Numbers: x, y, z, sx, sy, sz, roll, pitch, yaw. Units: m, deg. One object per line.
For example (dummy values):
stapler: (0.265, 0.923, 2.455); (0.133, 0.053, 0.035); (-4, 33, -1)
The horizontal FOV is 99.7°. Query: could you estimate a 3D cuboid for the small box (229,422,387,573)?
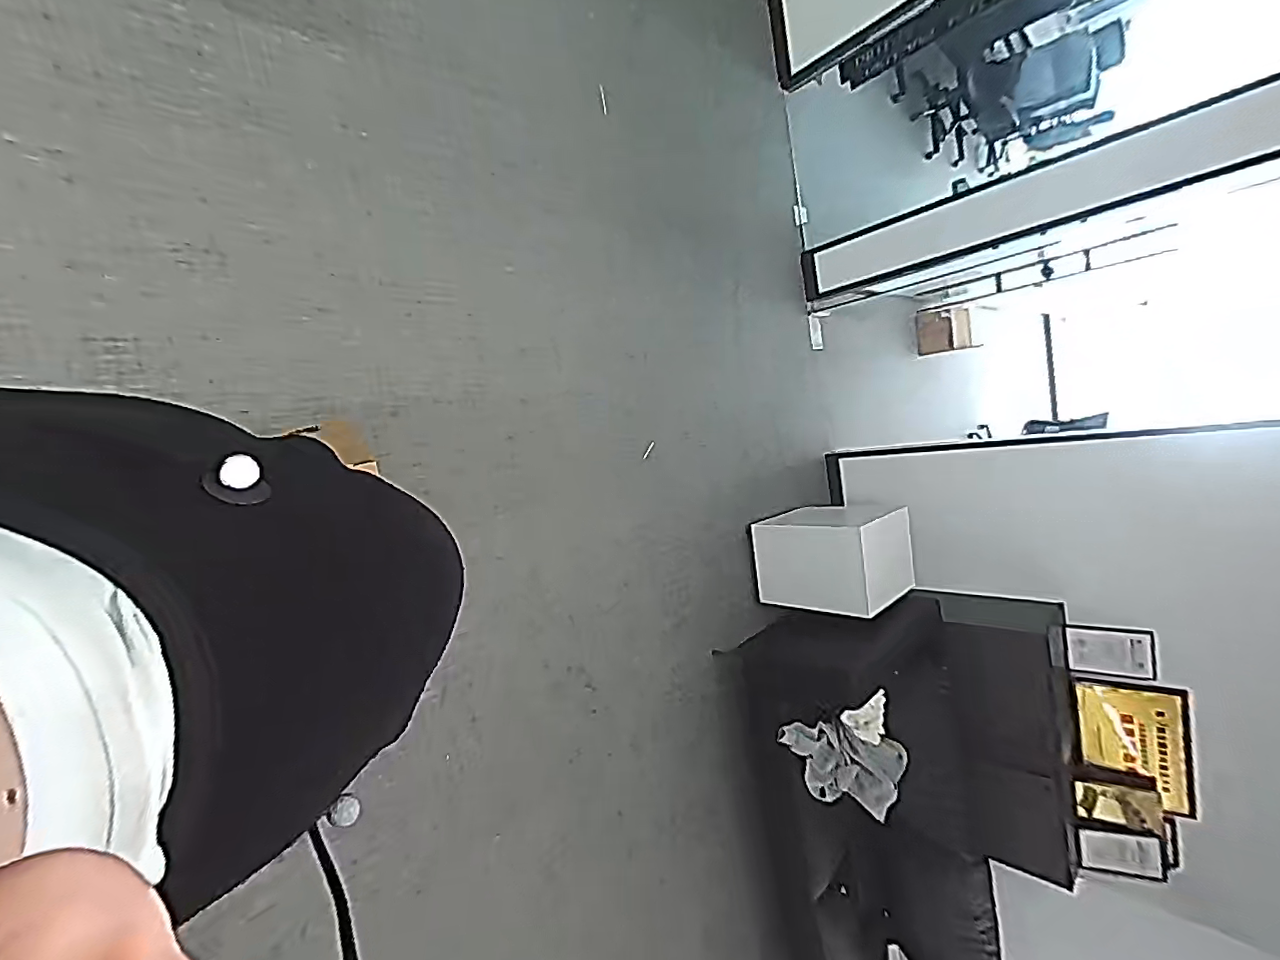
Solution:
small box: (-0.527, 0.029, 0.870); (0.168, 0.179, 0.176); (-20, 128, -37)
